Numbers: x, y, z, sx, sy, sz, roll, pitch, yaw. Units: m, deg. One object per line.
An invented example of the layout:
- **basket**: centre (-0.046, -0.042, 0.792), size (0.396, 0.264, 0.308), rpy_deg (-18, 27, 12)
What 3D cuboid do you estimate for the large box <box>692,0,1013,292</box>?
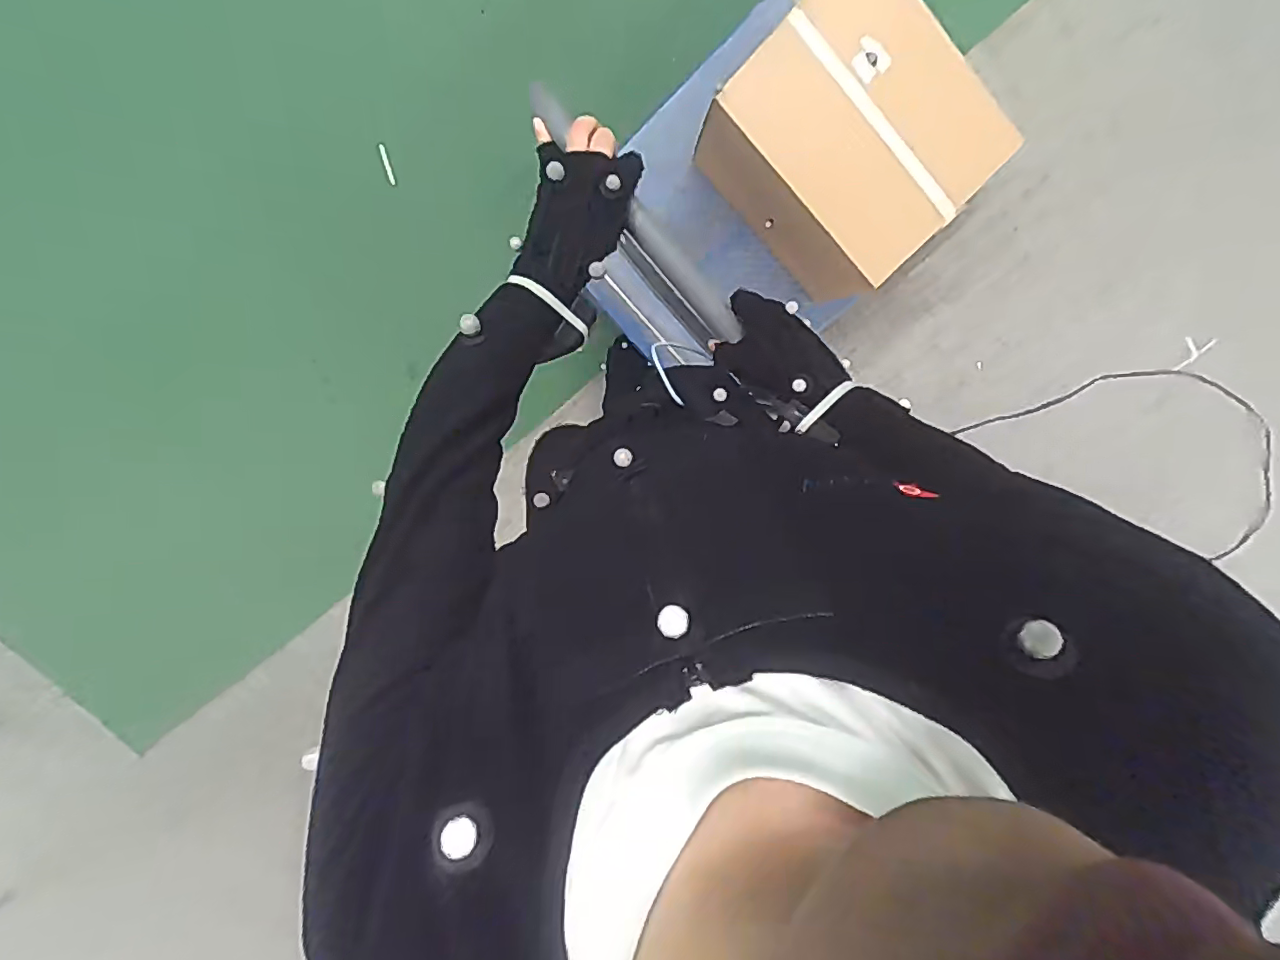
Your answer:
- **large box**: centre (0.354, -0.614, 1.001), size (0.408, 0.320, 0.320), rpy_deg (44, 99, -11)
